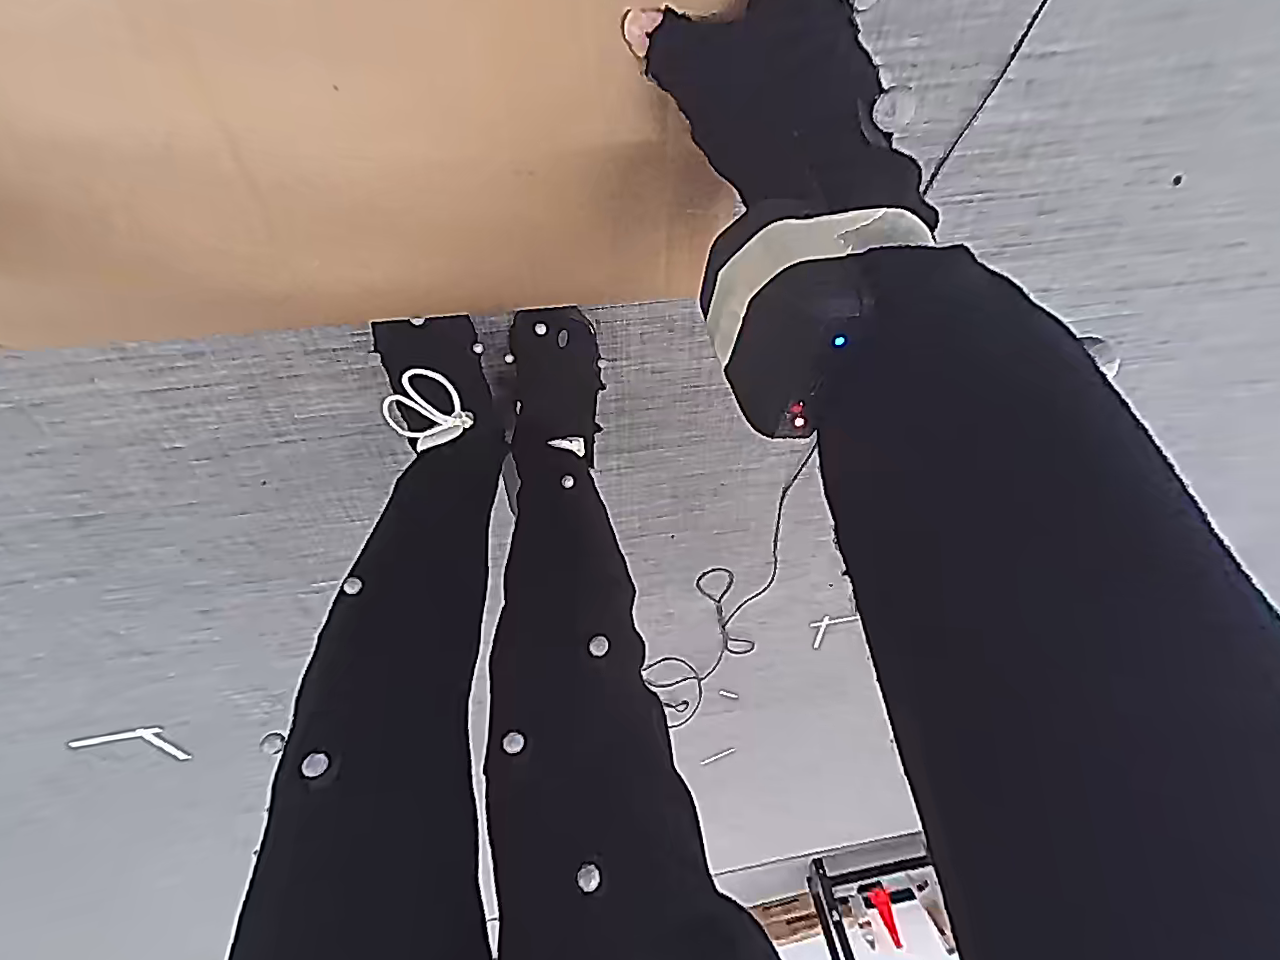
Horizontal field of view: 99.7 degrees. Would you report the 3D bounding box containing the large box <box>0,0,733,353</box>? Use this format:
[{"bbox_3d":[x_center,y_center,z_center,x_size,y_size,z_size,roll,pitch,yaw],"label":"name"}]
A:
[{"bbox_3d":[-0.174,-0.307,0.322,0.408,0.320,0.320,-7,133,-6],"label":"large box"}]
